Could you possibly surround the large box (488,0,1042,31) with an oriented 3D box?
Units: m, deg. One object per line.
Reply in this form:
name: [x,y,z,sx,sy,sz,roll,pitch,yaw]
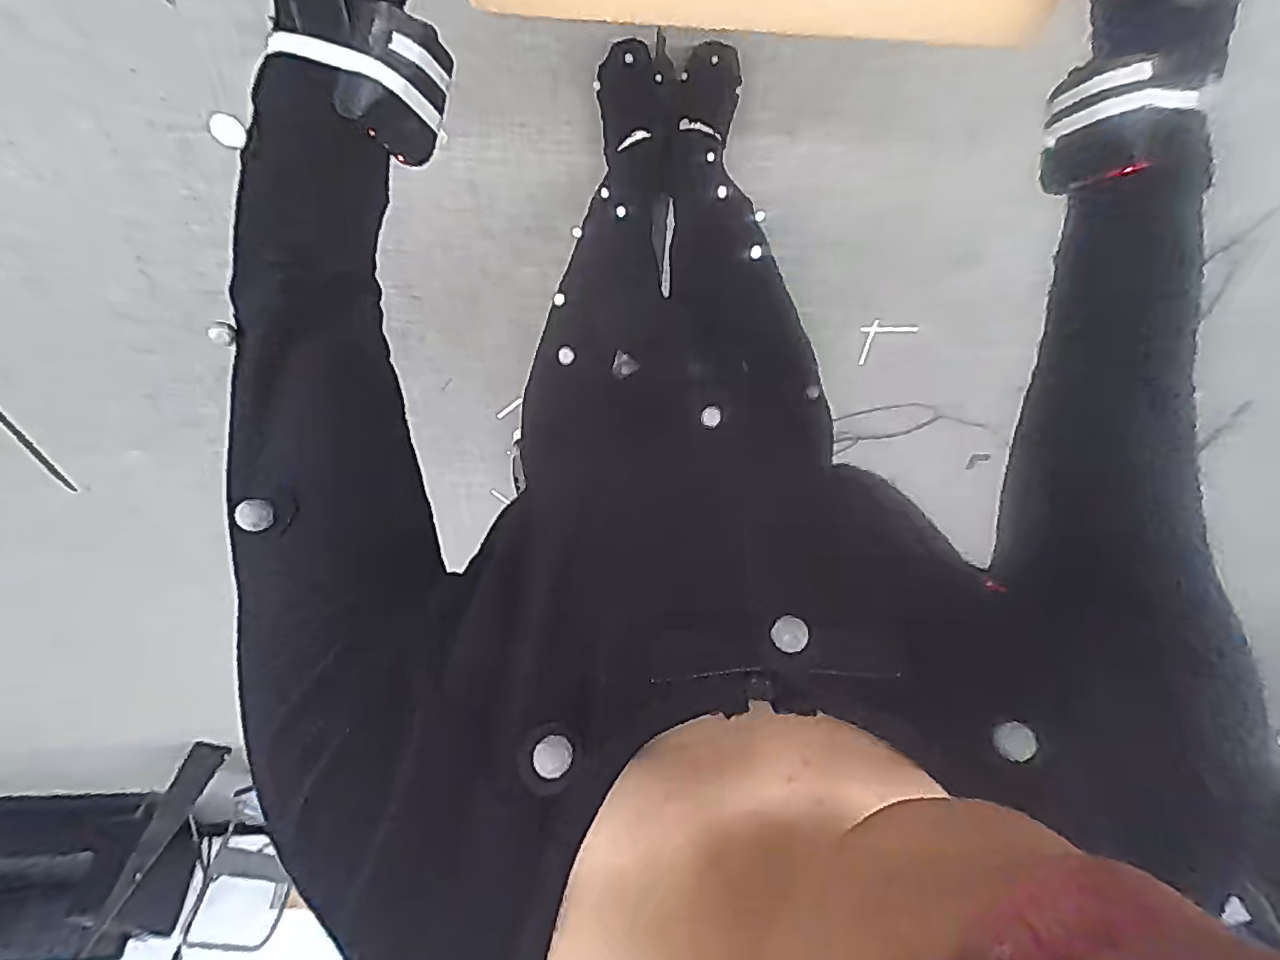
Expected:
large box: [0.088,-0.543,0.384,0.408,0.320,0.320,1,137,-3]
